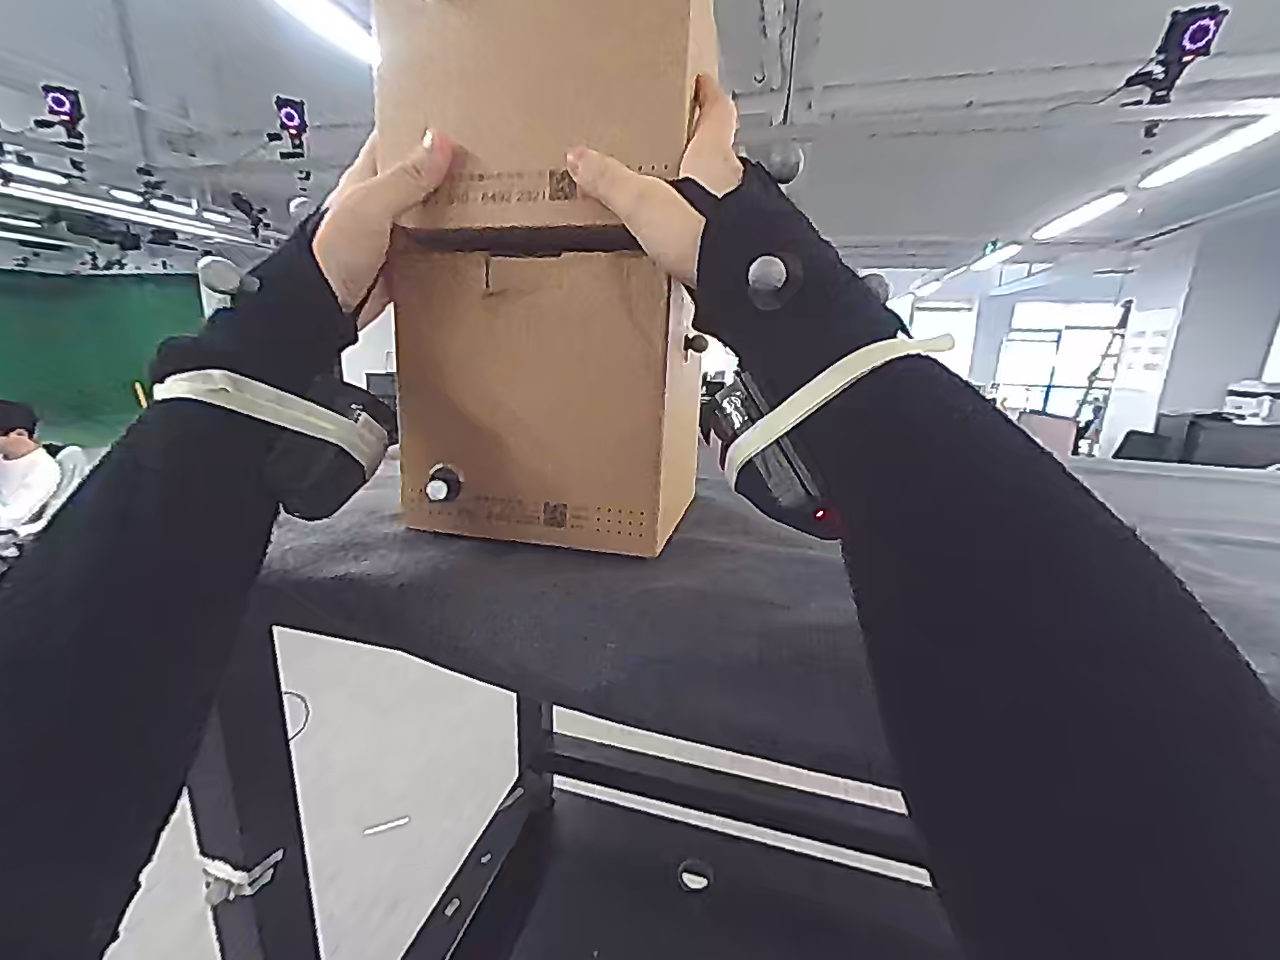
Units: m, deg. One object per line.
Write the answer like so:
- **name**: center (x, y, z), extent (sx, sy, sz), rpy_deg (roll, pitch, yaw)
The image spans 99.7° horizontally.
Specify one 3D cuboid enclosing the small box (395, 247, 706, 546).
- **small box**: center (-0.047, -0.058, 0.390), extent (0.168, 0.176, 0.179), rpy_deg (5, 10, 12)
